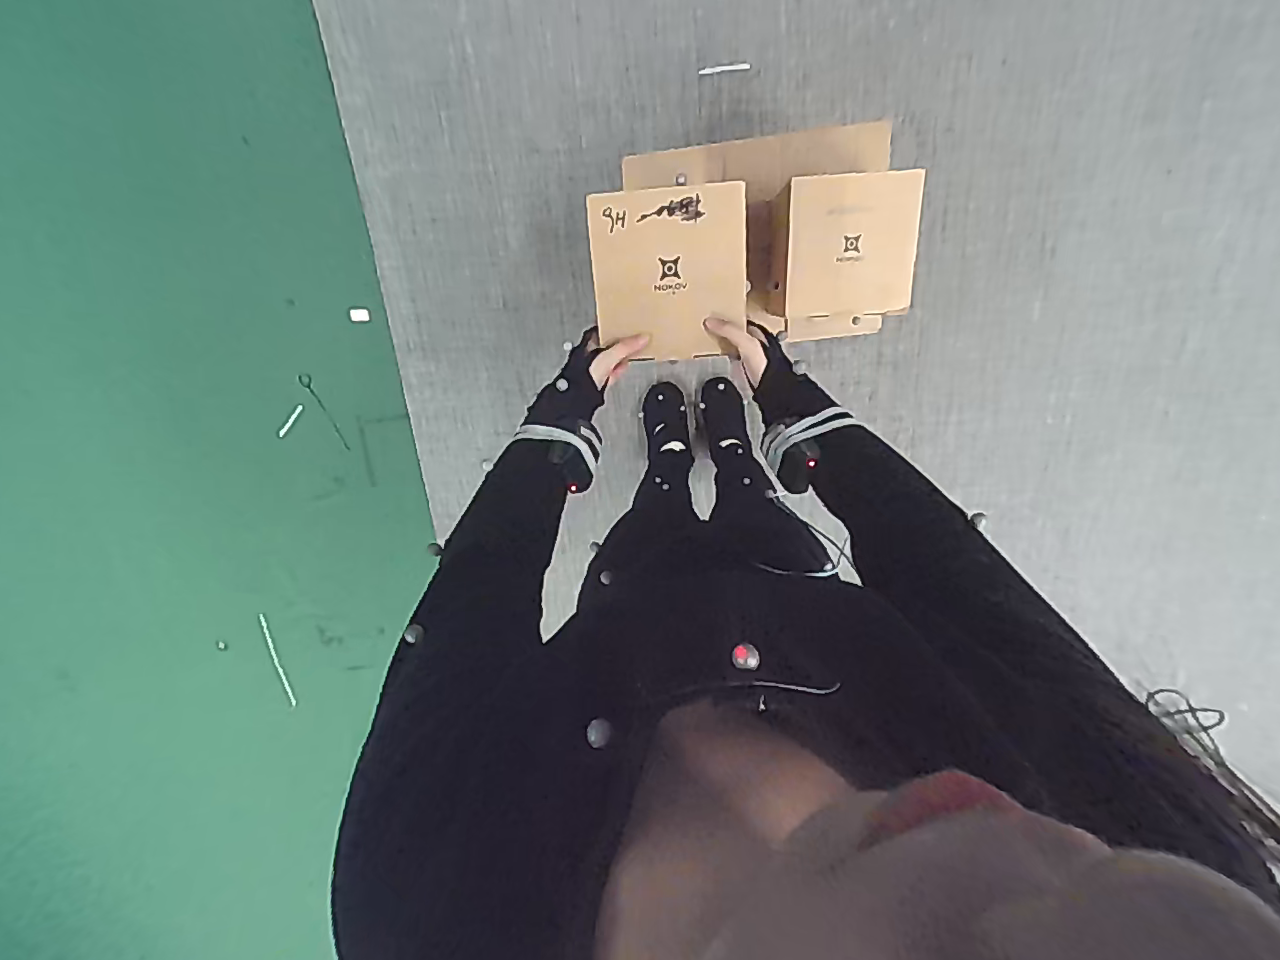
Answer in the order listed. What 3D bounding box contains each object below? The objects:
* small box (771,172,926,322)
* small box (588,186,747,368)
[{"bbox_3d":[0.285,-0.325,0.779,0.168,0.176,0.179,-1,108,5],"label":"small box"},{"bbox_3d":[0.038,-0.241,0.654,0.168,0.176,0.179,-3,110,5],"label":"small box"}]
